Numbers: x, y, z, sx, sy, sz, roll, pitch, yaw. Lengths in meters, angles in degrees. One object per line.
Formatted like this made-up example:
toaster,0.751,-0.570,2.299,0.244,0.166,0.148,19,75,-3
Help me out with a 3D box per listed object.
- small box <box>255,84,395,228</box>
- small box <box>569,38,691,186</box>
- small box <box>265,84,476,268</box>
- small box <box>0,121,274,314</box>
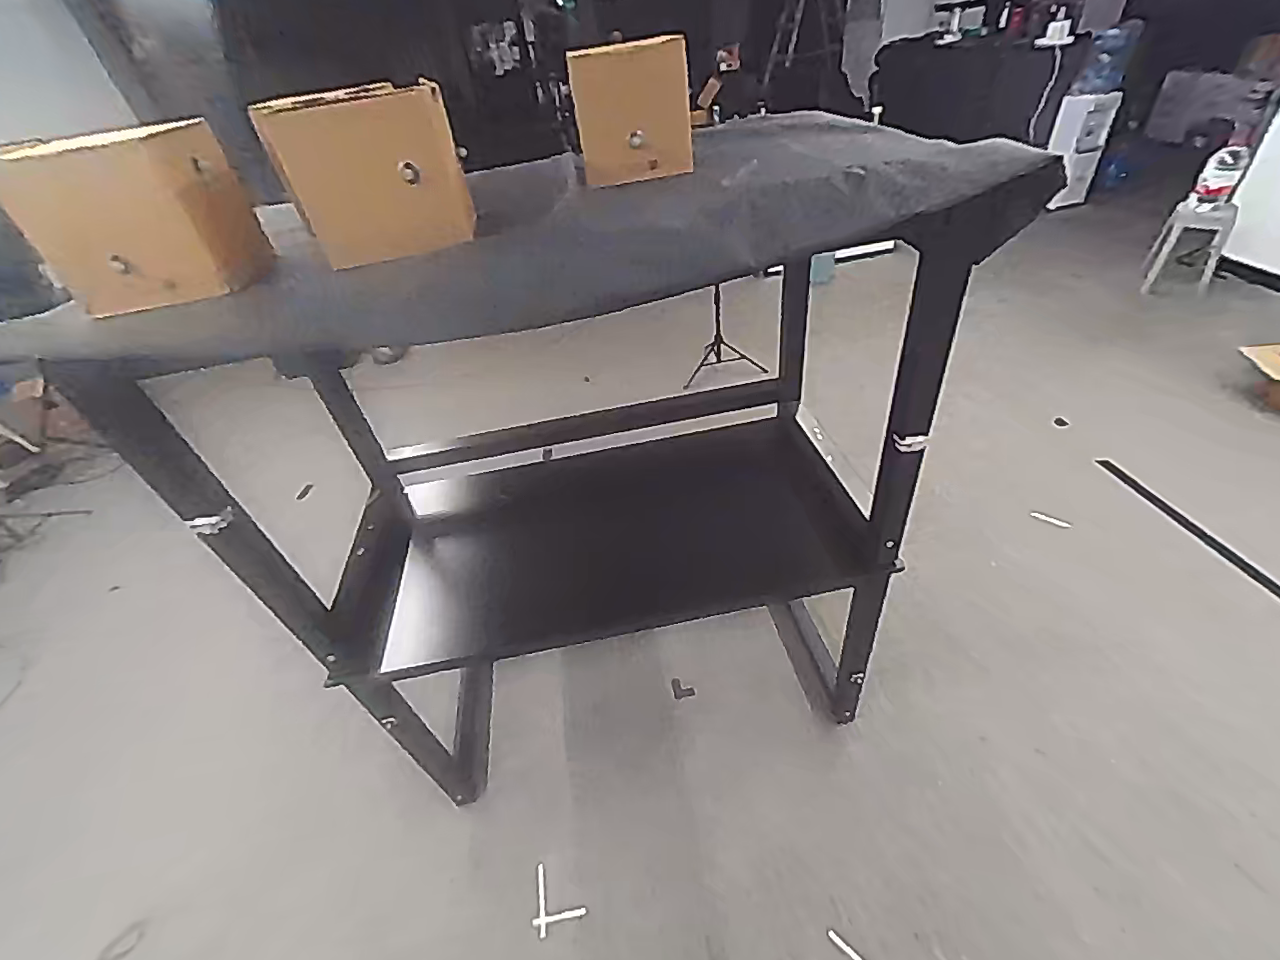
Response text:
small box,-0.453,-0.509,0.859,0.168,0.176,0.179,-11,39,-2
small box,-0.015,-0.583,0.861,0.168,0.176,0.179,-10,40,0
small box,-0.319,-0.389,0.690,0.179,0.176,0.168,-12,38,-4
small box,-0.594,-0.324,0.666,0.168,0.176,0.179,-13,40,-5
